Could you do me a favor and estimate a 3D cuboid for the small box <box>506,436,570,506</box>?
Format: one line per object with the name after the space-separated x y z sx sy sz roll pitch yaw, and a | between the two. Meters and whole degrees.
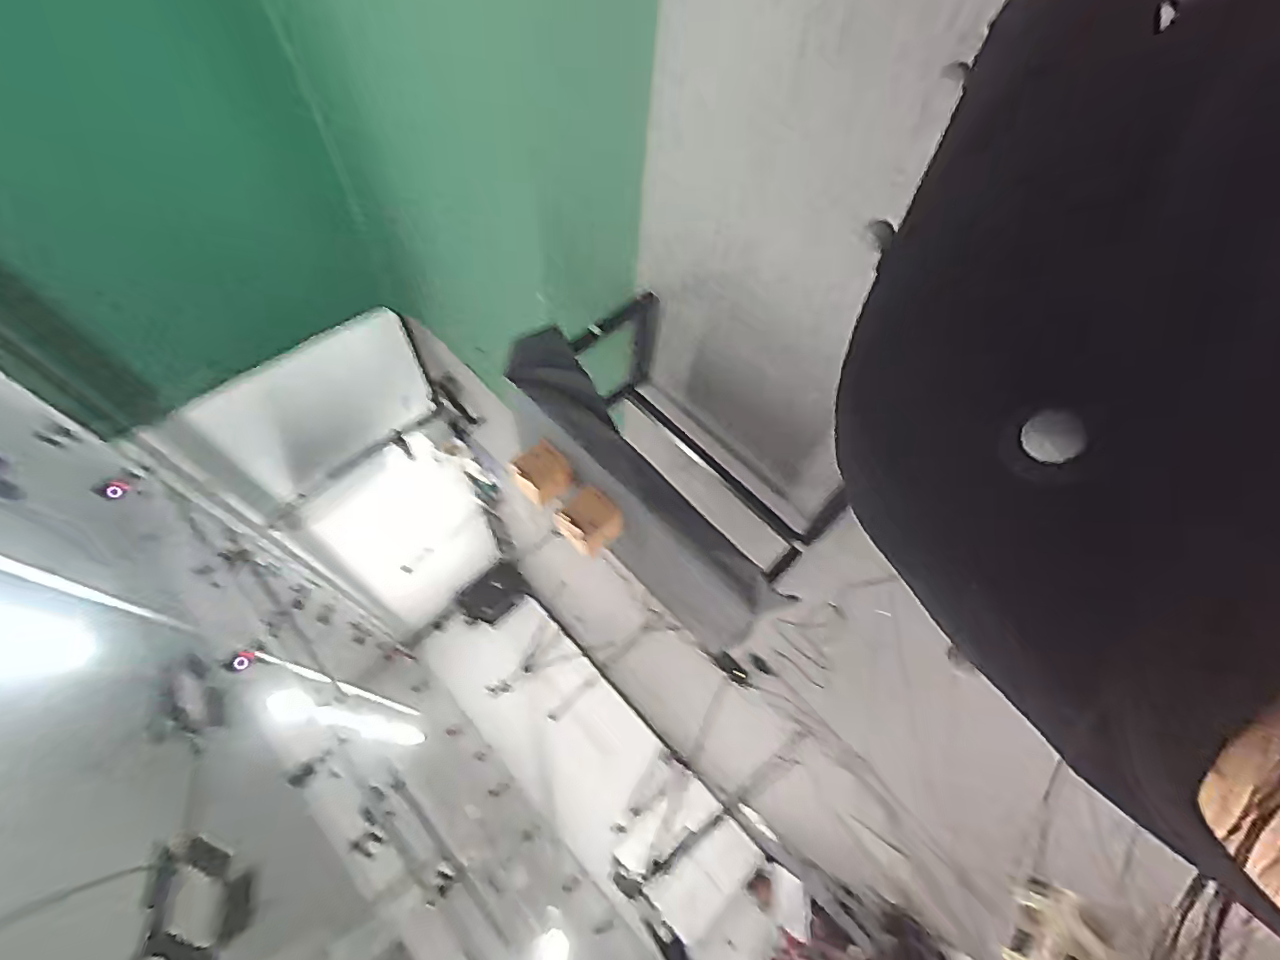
-0.382 -0.038 2.063 0.168 0.176 0.179 44 158 19 | small box
